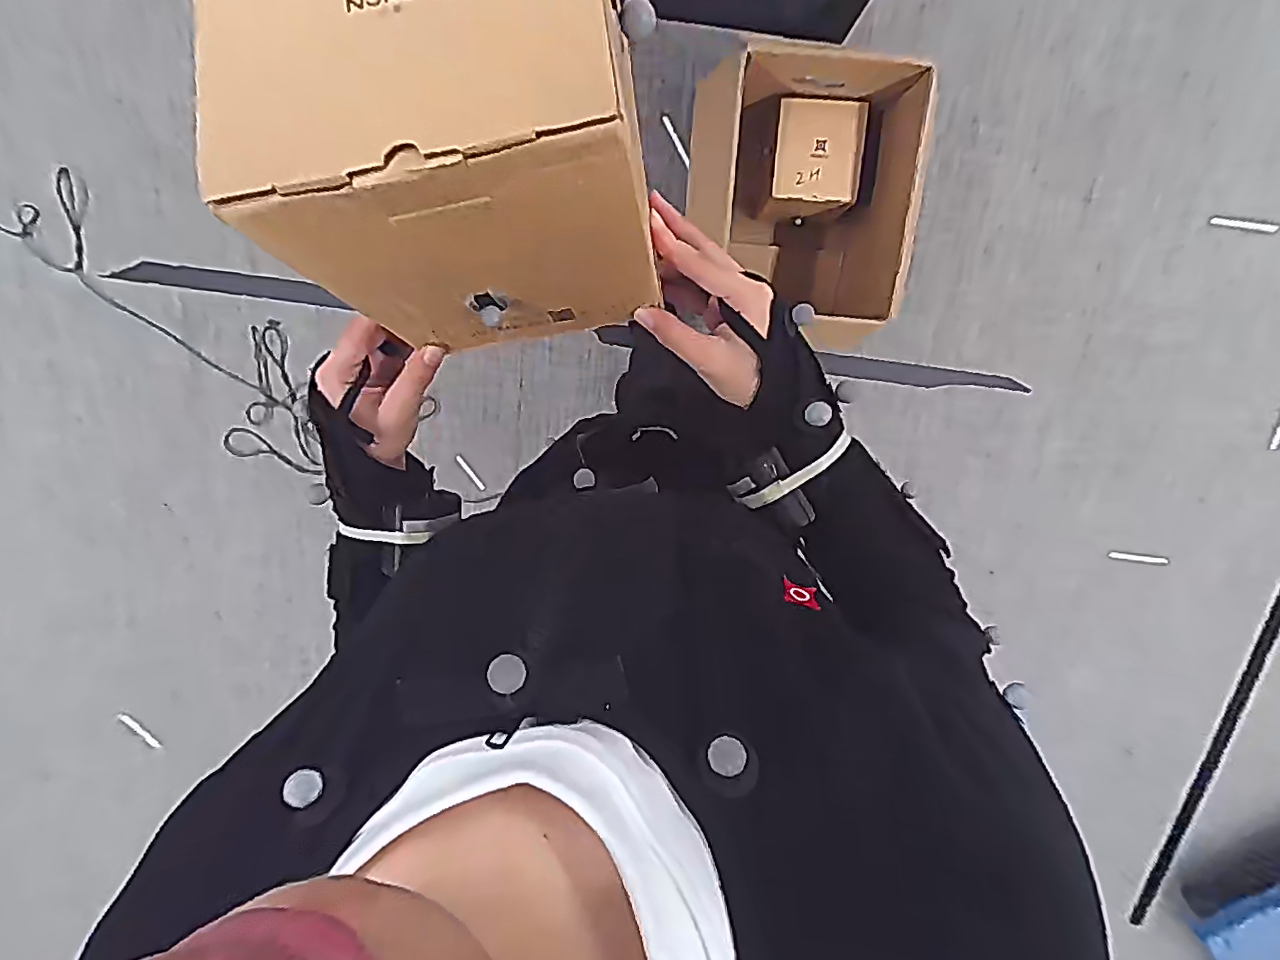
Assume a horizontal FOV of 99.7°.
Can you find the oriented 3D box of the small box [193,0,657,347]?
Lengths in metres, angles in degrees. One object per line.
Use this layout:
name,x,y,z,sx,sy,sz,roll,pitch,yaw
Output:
small box,-0.087,-0.193,0.288,0.168,0.176,0.179,-9,83,7
